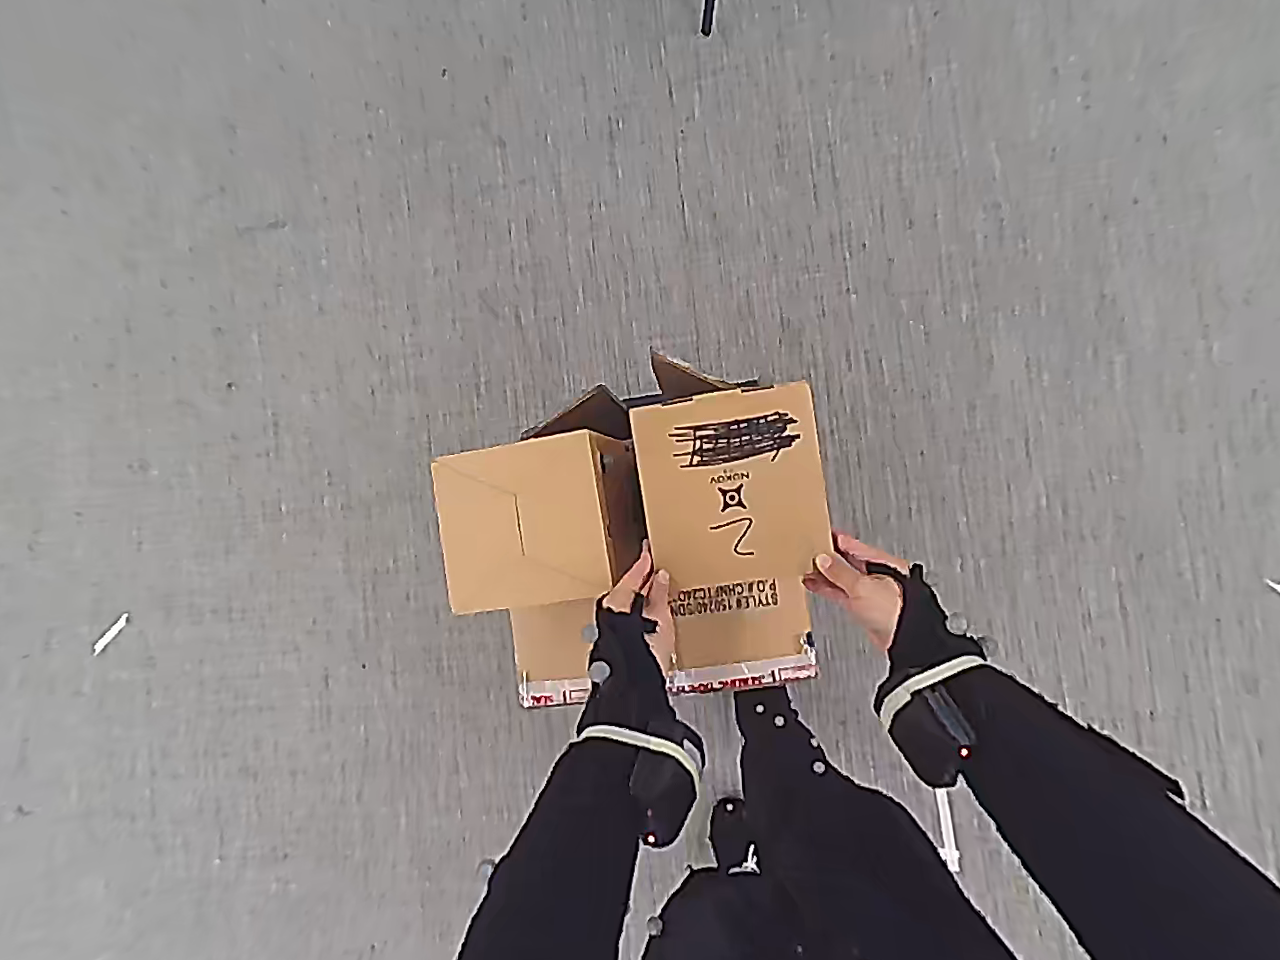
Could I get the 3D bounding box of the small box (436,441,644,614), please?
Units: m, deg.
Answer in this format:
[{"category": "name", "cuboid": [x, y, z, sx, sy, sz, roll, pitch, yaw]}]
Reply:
[{"category": "small box", "cuboid": [-0.105, 0.051, 0.630, 0.179, 0.176, 0.168, -9, 87, 10]}]
